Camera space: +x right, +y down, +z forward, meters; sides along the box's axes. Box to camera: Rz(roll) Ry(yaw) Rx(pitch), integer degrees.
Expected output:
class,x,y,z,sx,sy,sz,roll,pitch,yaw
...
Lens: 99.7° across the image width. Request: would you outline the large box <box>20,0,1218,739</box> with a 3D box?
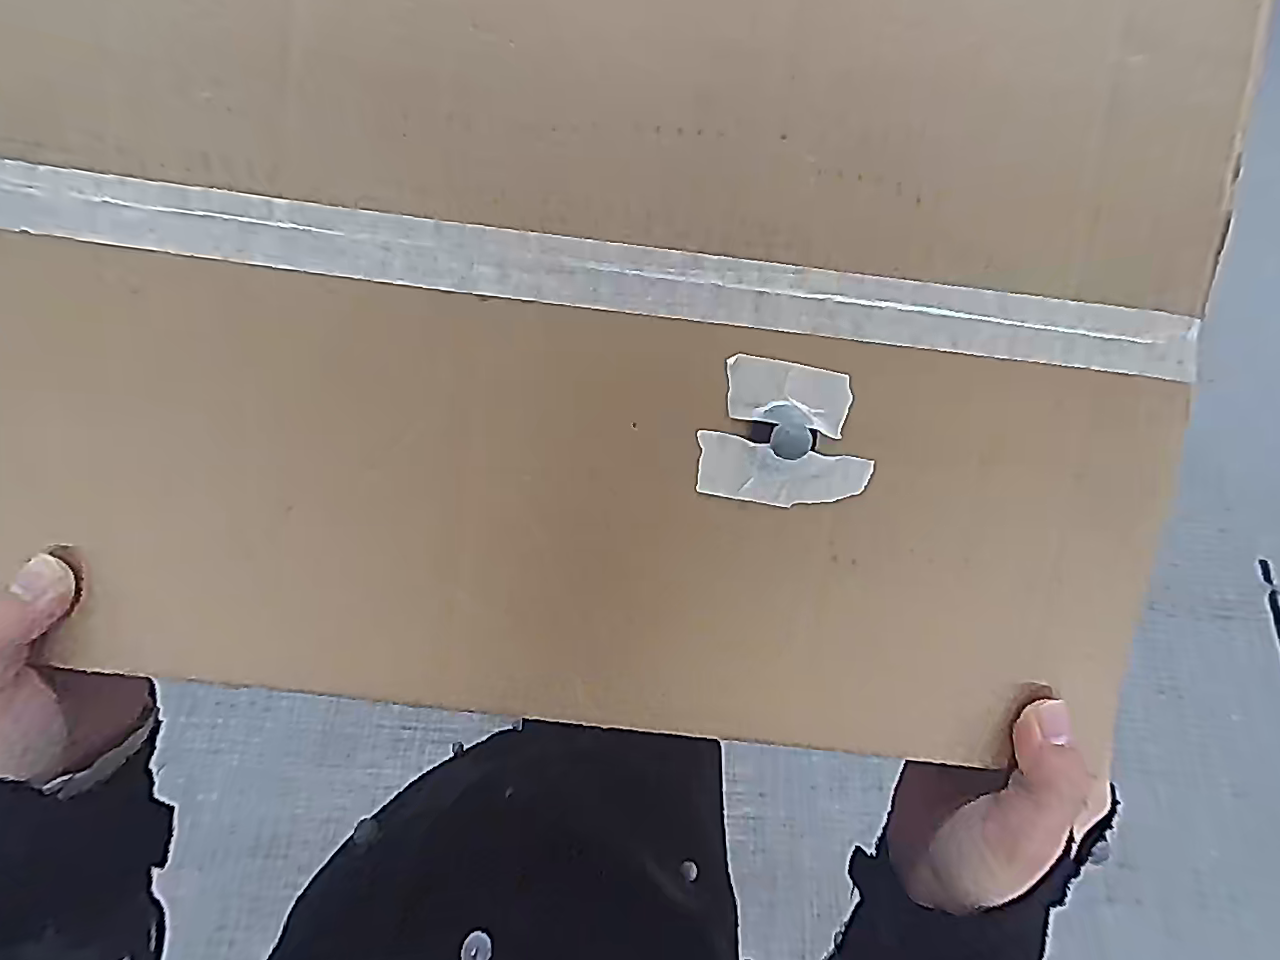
class,x,y,z,sx,sy,sz,roll,pitch,yaw
large box,-0.015,-0.080,0.340,0.408,0.320,0.320,7,96,-3
